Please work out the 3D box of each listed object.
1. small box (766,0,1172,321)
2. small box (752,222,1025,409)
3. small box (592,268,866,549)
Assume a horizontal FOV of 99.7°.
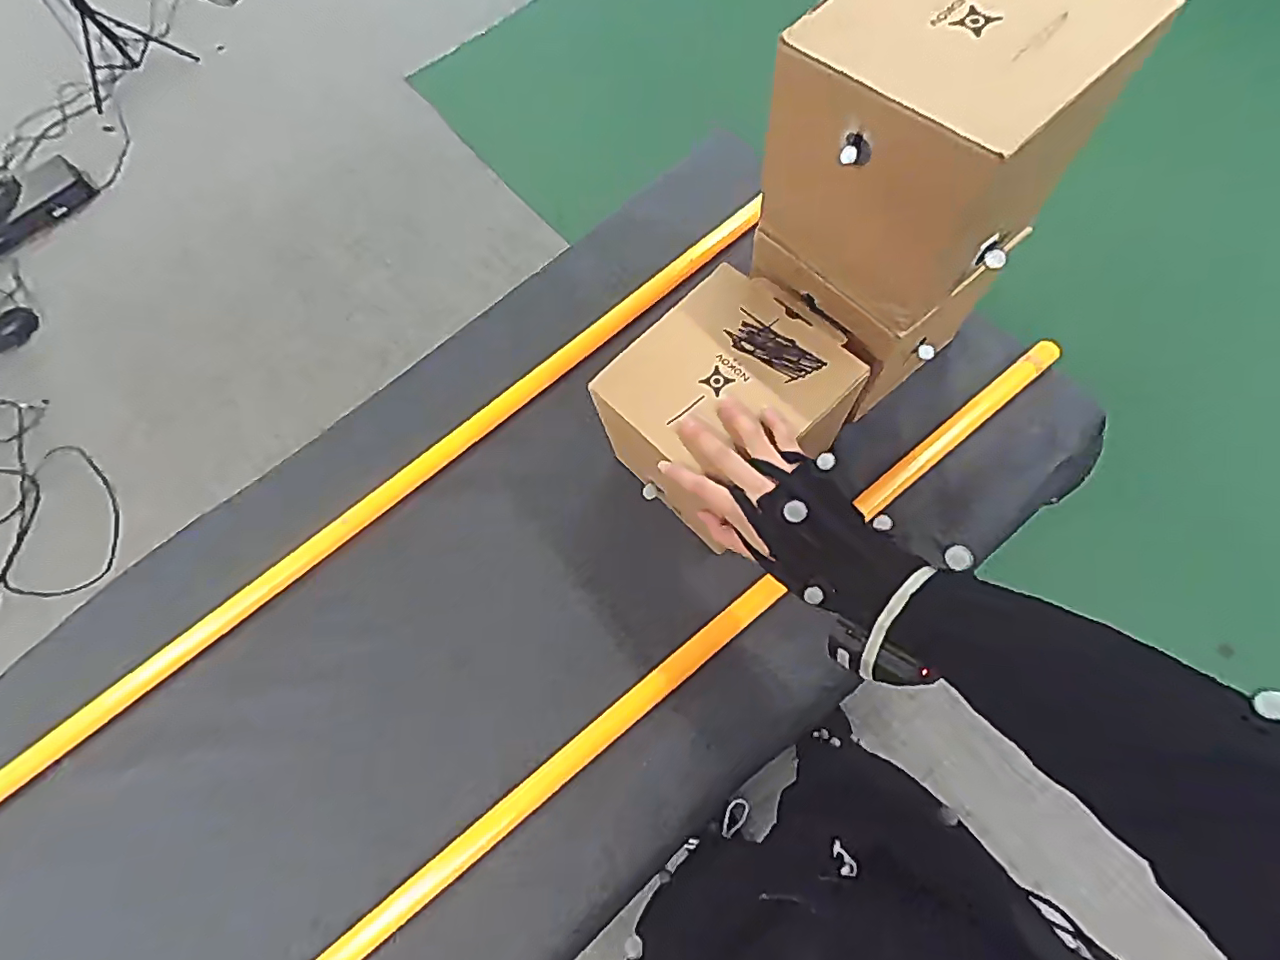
[{"bbox_3d":[0.216,-0.261,0.418,0.168,0.176,0.179,-42,70,-7],"label":"small box"},{"bbox_3d":[0.235,-0.198,0.567,0.168,0.176,0.179,-39,69,-8],"label":"small box"},{"bbox_3d":[0.080,-0.059,0.533,0.179,0.176,0.168,-43,71,-9],"label":"small box"}]
